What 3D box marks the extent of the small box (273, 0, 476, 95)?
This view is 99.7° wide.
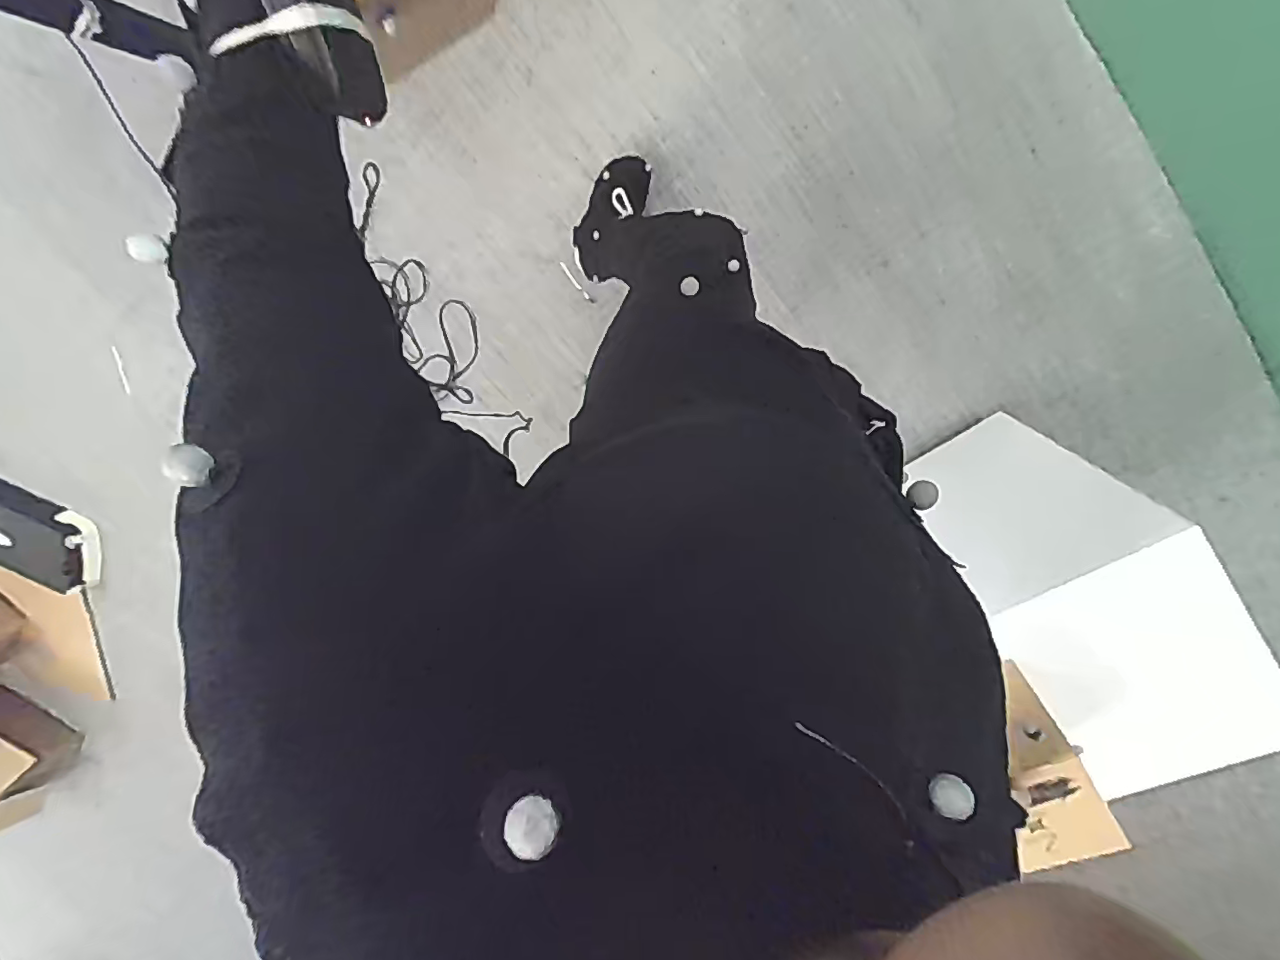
[{"bbox_3d":[-0.232,-0.459,0.422,0.176,0.179,0.168,-43,115,-9],"label":"small box"}]
